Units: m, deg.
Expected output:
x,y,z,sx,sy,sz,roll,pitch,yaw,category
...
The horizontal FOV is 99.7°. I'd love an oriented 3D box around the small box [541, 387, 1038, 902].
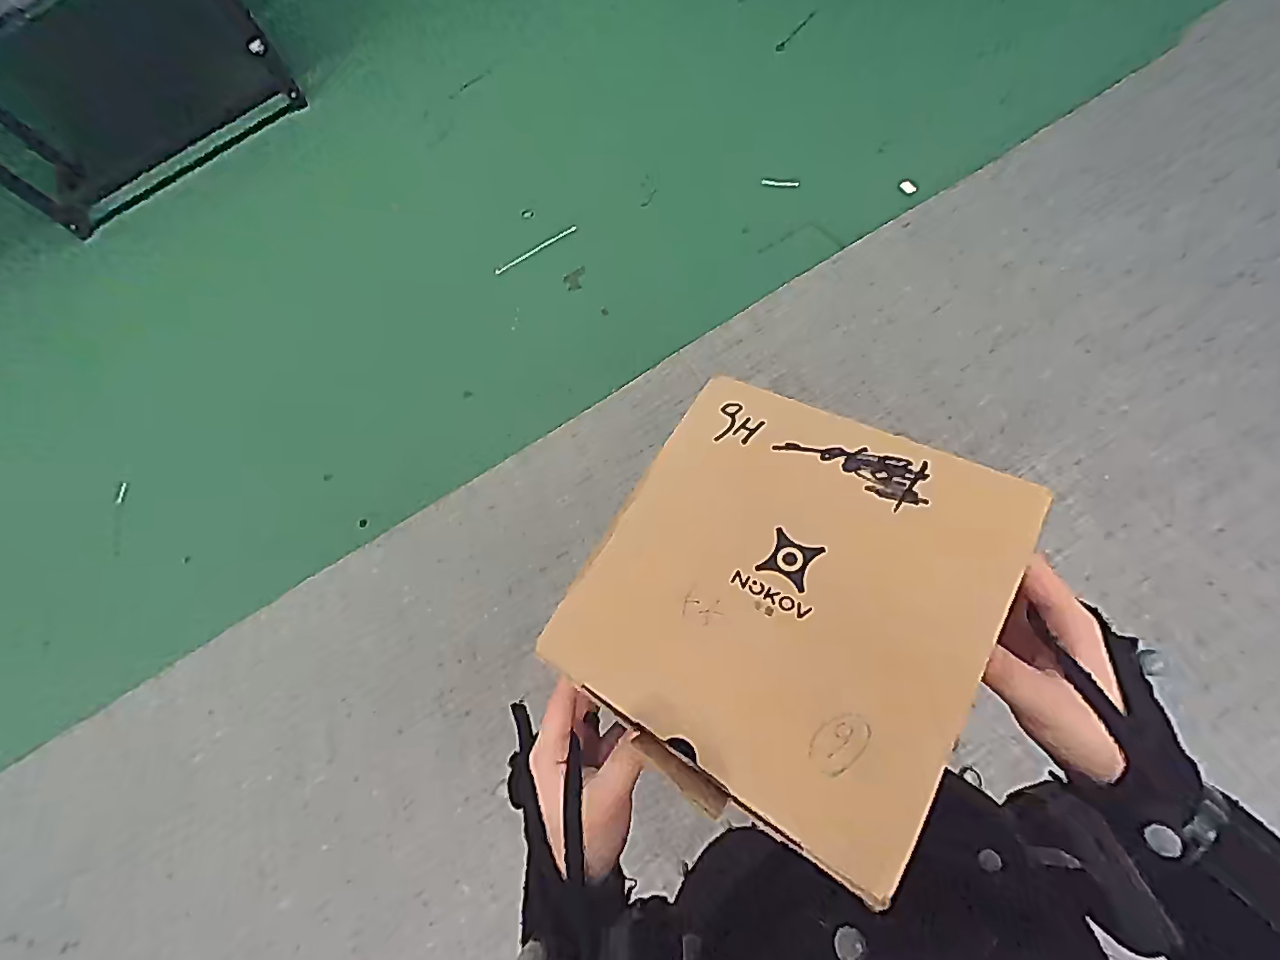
x,y,z,sx,sy,sz,roll,pitch,yaw,category
0.082,0.084,0.313,0.168,0.176,0.179,26,73,26,small box
